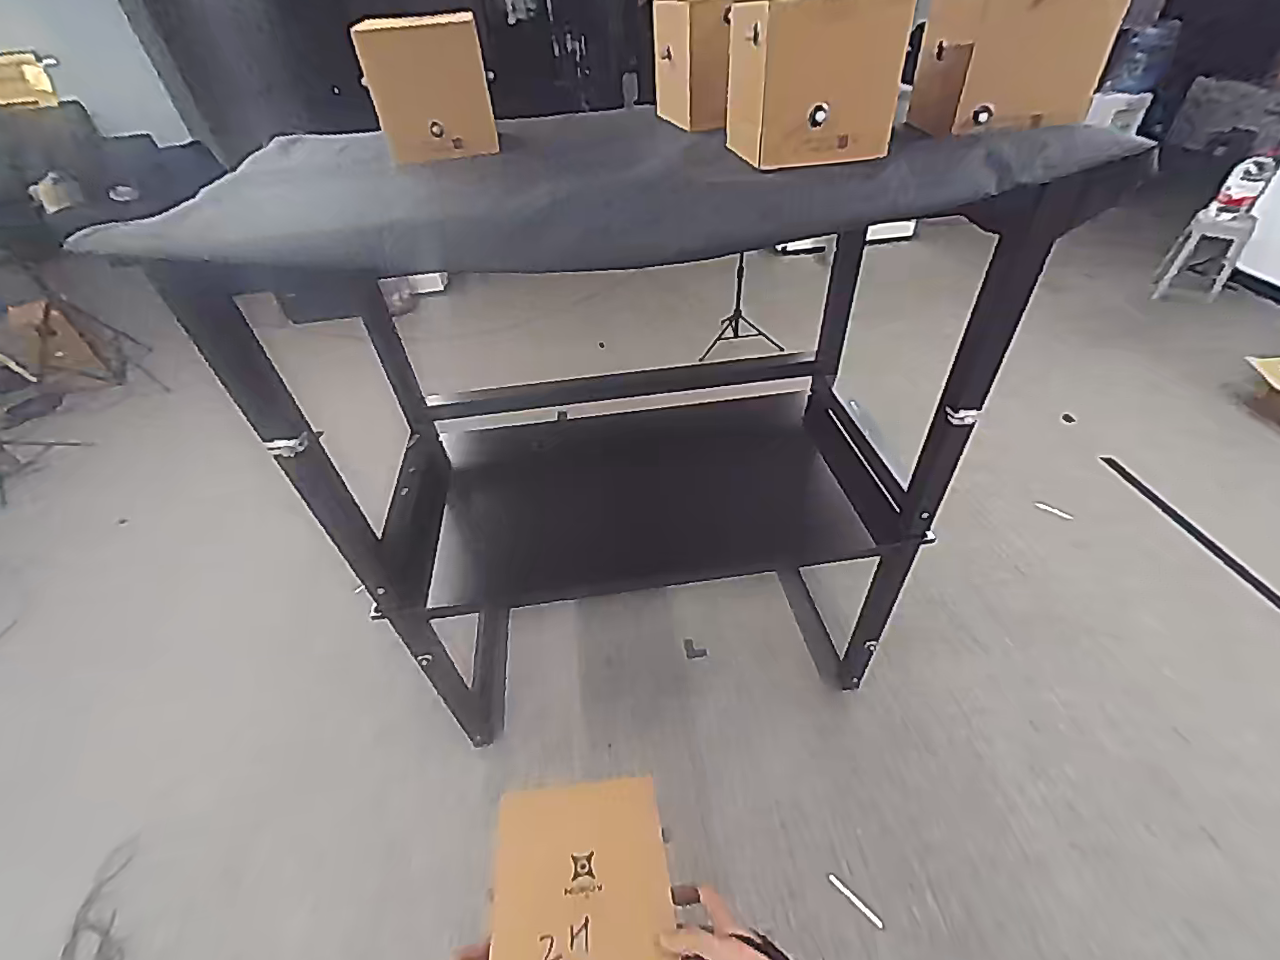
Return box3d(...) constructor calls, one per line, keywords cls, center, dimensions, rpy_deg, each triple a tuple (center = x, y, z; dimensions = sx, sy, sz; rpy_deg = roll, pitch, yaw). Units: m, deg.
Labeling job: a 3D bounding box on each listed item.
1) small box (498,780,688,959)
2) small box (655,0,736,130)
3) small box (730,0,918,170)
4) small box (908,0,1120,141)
box3d(cls="small box", center=(-0.051, 0.446, 0.557), dimensions=(0.168, 0.176, 0.179), rpy_deg=(-2, 35, -7))
box3d(cls="small box", center=(0.129, -0.701, 0.906), dimensions=(0.168, 0.176, 0.179), rpy_deg=(-15, 43, -10))
box3d(cls="small box", center=(0.215, -0.510, 0.691), dimensions=(0.168, 0.176, 0.179), rpy_deg=(-8, 41, -3))
box3d(cls="small box", center=(0.485, -0.563, 0.720), dimensions=(0.168, 0.176, 0.179), rpy_deg=(-2, 41, 4))
